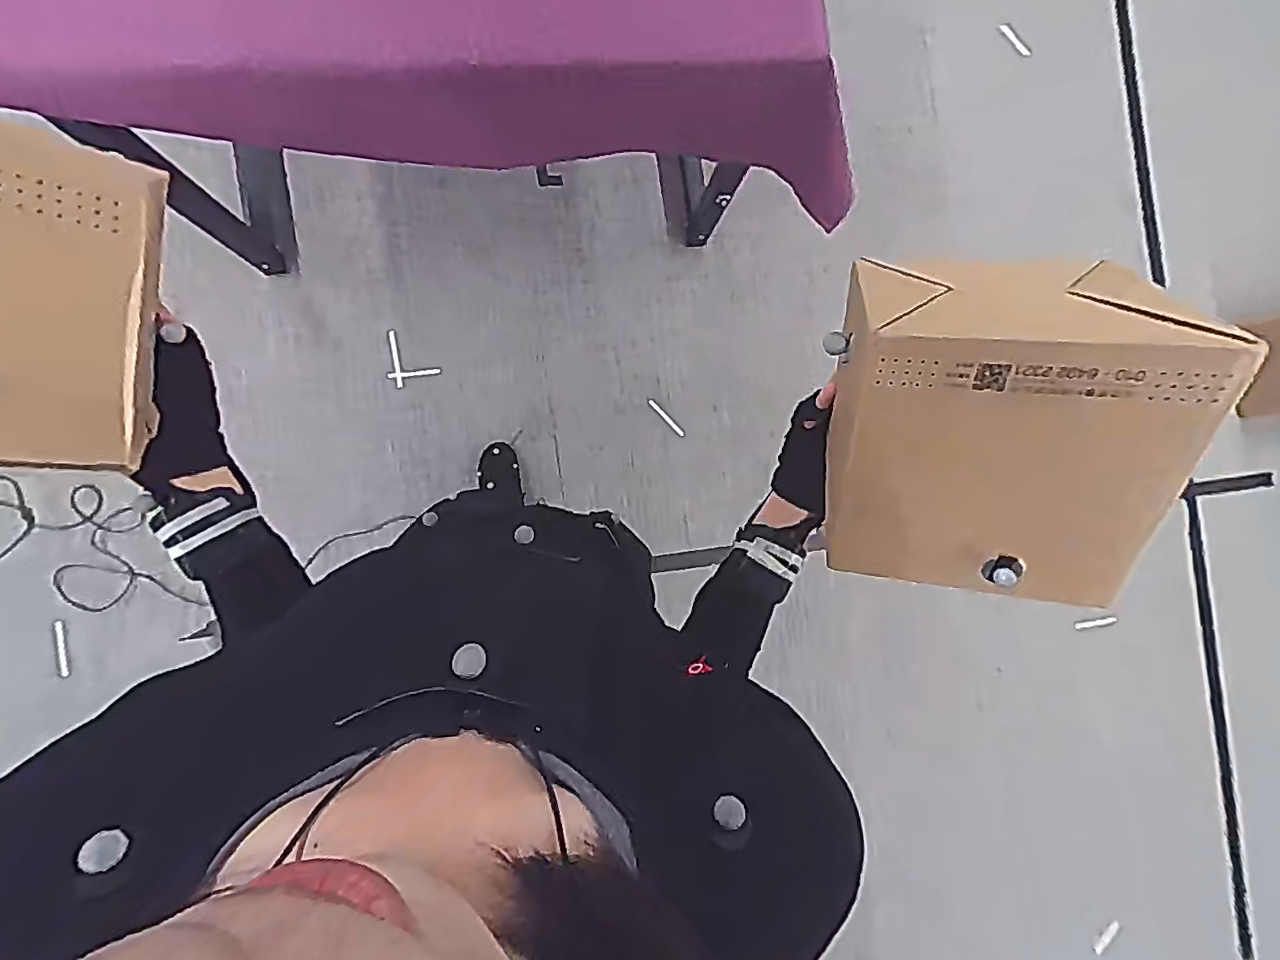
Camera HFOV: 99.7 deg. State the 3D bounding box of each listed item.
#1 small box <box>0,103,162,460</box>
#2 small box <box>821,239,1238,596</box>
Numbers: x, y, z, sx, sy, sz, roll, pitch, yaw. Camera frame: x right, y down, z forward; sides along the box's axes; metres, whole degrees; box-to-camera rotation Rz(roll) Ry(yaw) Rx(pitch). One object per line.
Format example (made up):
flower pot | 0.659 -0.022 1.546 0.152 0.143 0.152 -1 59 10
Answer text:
small box | -0.380 -0.123 0.293 0.179 0.168 0.176 5 109 -40
small box | 0.217 -0.054 0.359 0.168 0.179 0.176 6 126 16
